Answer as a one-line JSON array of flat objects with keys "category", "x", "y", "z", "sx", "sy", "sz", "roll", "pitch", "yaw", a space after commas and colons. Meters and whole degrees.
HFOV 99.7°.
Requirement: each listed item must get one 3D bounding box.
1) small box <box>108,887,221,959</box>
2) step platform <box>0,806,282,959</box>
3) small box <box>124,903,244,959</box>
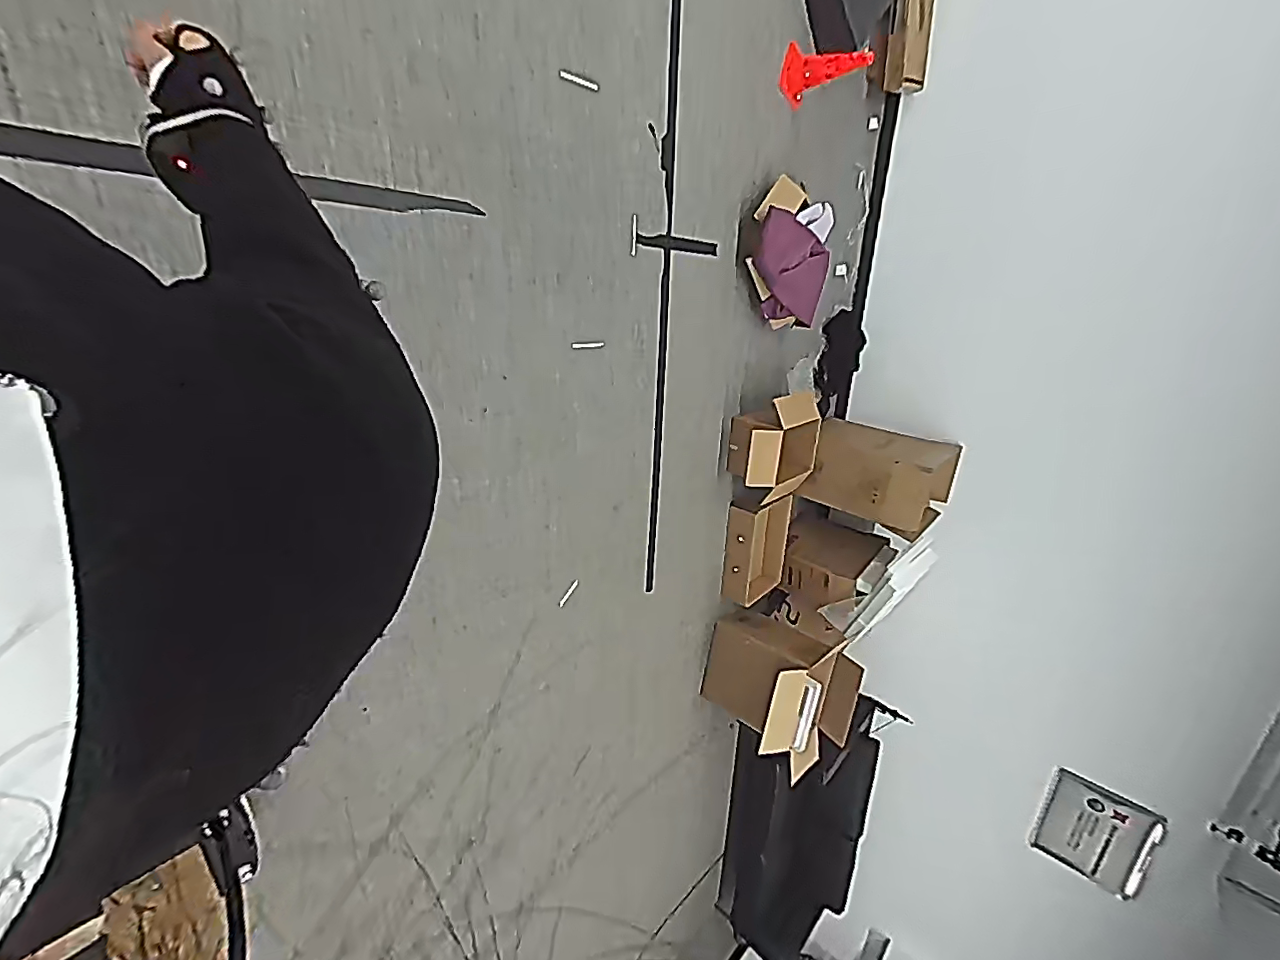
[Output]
[{"category": "small box", "x": -1.021, "y": 0.965, "z": 1.180, "sx": 0.168, "sy": 0.176, "sz": 0.179, "roll": -21, "pitch": 121, "yaw": -44}, {"category": "step platform", "x": -1.106, "y": 0.971, "z": 1.028, "sx": 0.684, "sy": 0.204, "sz": 0.286, "roll": -20, "pitch": 121, "yaw": -43}, {"category": "small box", "x": -0.900, "y": 1.013, "z": 1.081, "sx": 0.168, "sy": 0.176, "sz": 0.179, "roll": -22, "pitch": 121, "yaw": -43}]
